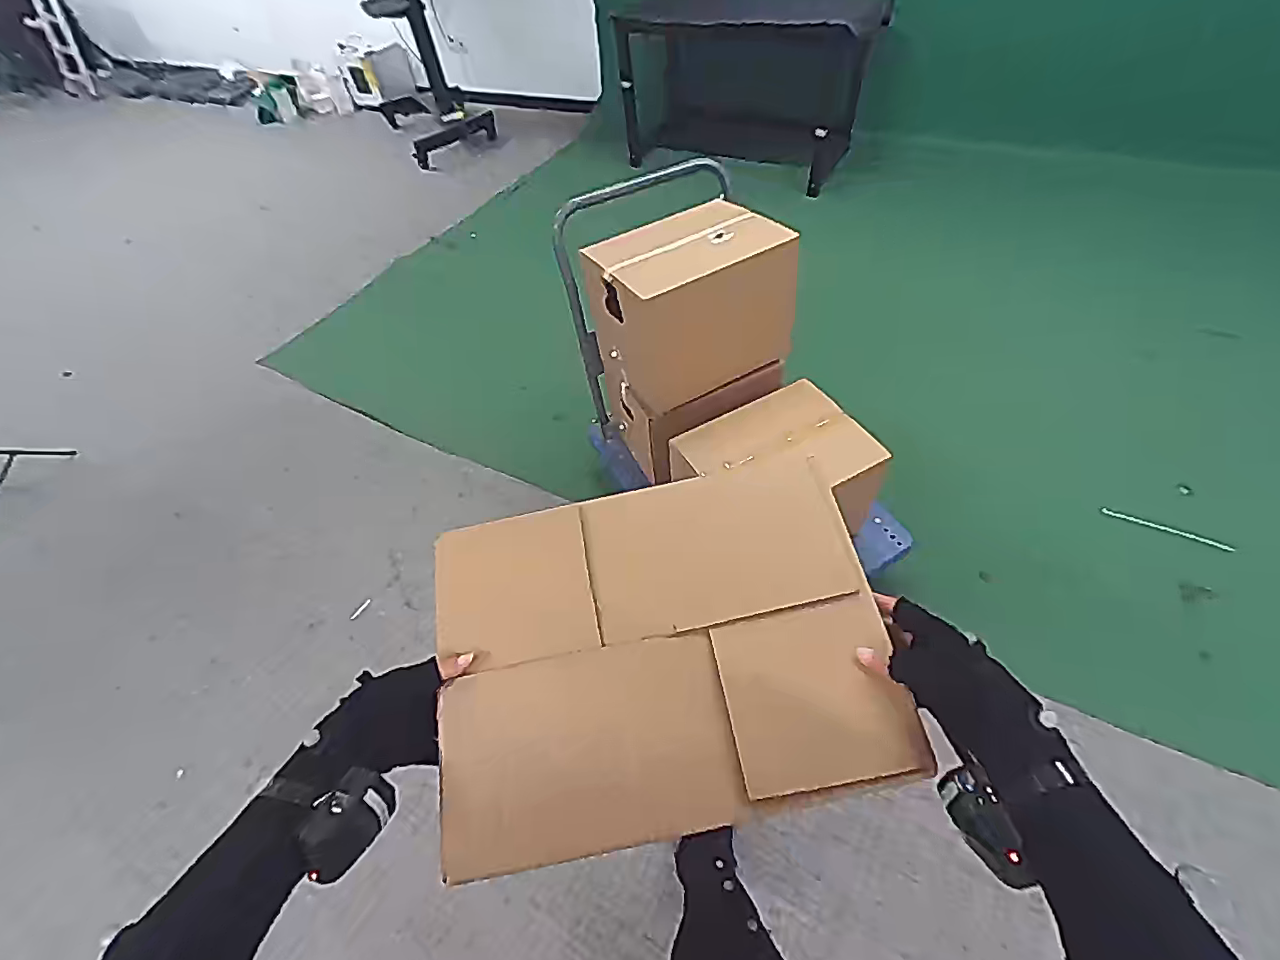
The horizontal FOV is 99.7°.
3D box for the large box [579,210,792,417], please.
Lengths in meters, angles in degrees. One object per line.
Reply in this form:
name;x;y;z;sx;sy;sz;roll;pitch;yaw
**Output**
large box;0.114;-0.419;1.342;0.408;0.320;0.320;-26;48;-16
